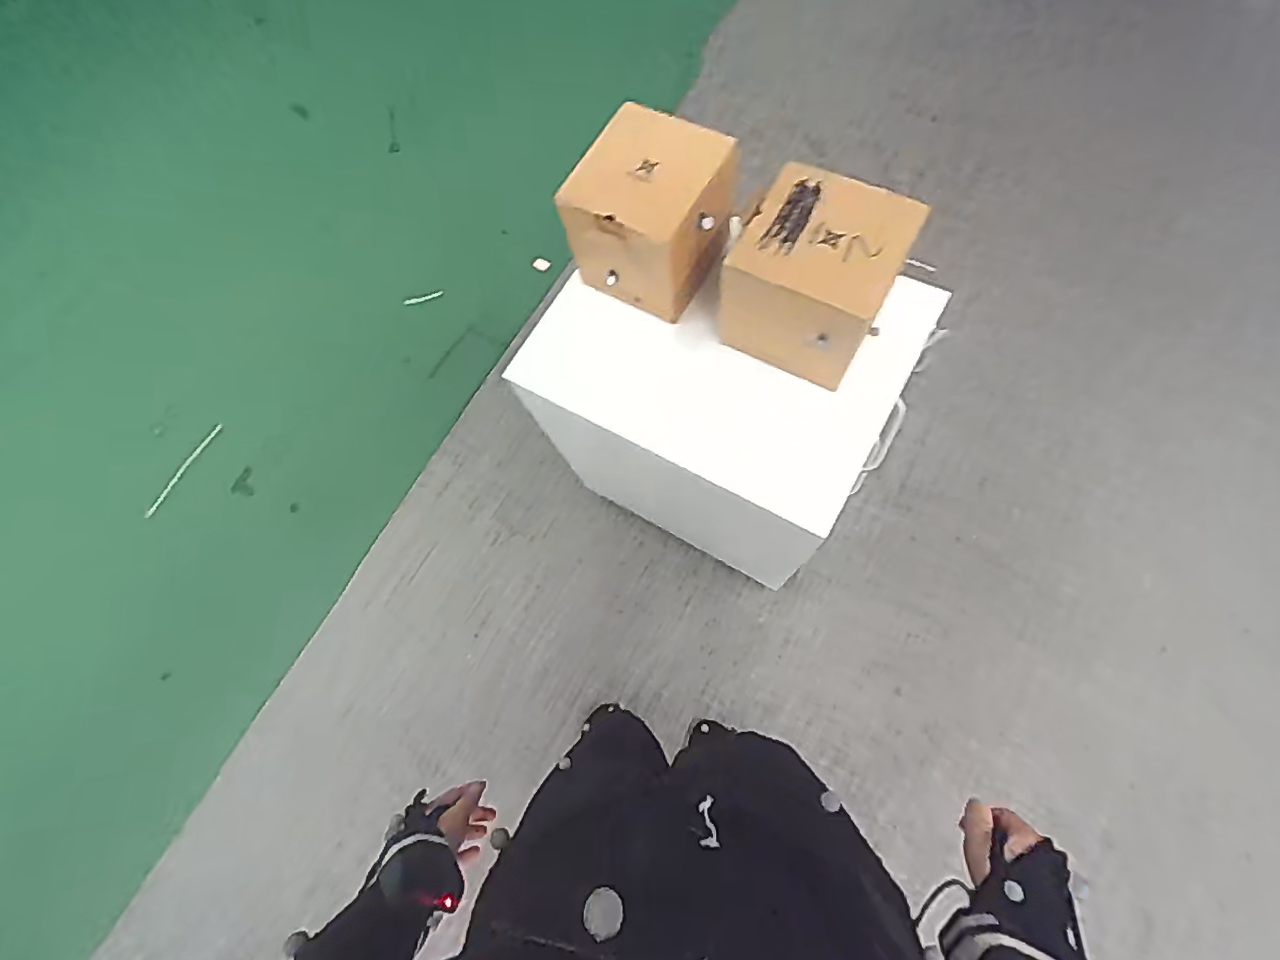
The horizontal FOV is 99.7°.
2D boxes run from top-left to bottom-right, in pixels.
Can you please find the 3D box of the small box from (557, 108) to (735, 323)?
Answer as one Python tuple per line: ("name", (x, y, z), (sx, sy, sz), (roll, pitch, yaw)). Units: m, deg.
("small box", (0.014, -0.356, 0.749), (0.168, 0.176, 0.179), (29, 78, 14))
